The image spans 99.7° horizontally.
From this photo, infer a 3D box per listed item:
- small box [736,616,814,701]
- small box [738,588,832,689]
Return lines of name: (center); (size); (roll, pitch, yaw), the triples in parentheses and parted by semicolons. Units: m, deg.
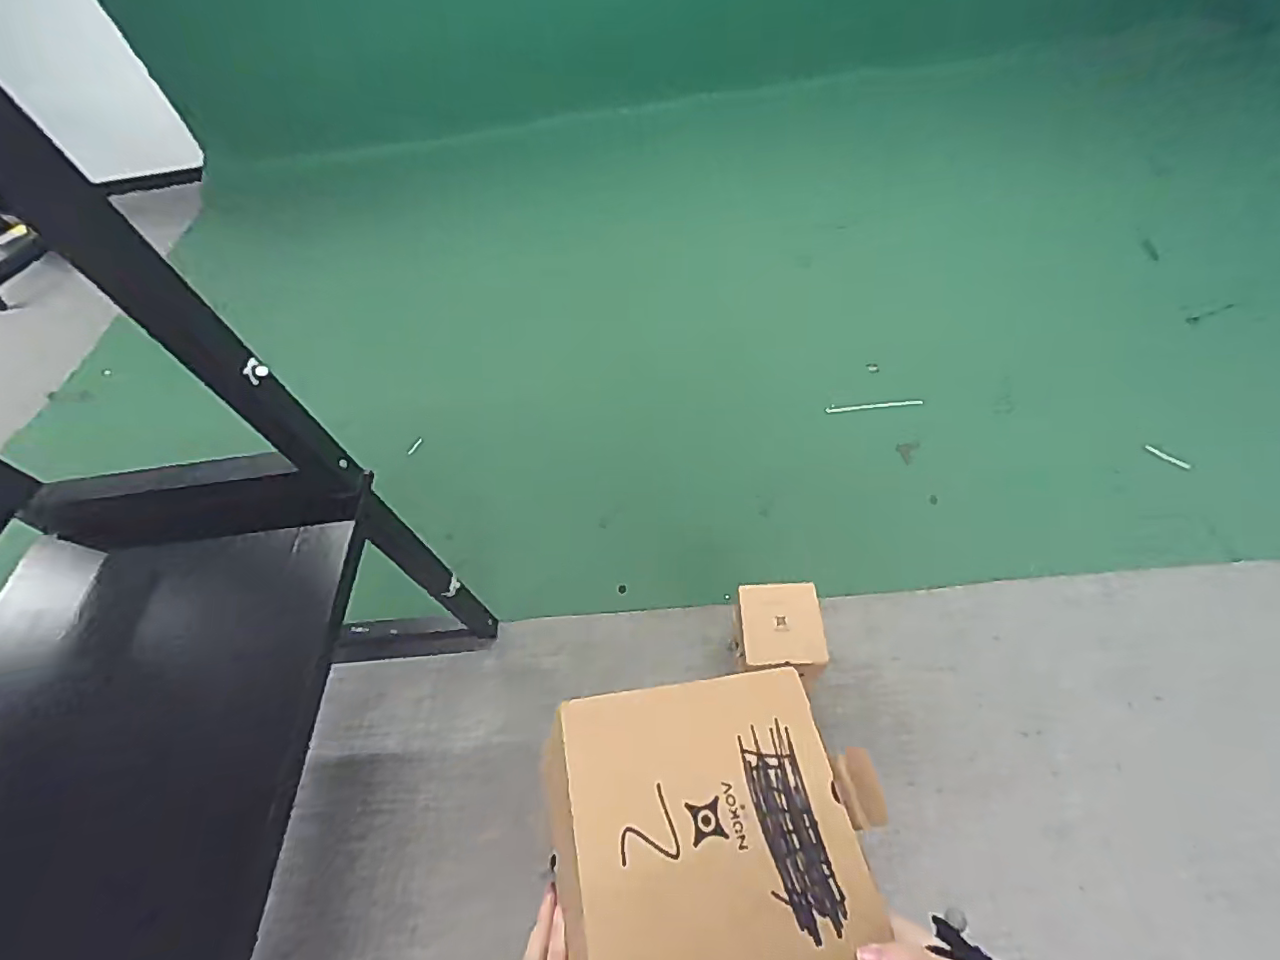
small box: (0.327, 0.435, 1.314); (0.179, 0.176, 0.168); (-2, 56, 5)
small box: (0.307, 0.351, 1.177); (0.168, 0.176, 0.179); (-3, 55, 4)
